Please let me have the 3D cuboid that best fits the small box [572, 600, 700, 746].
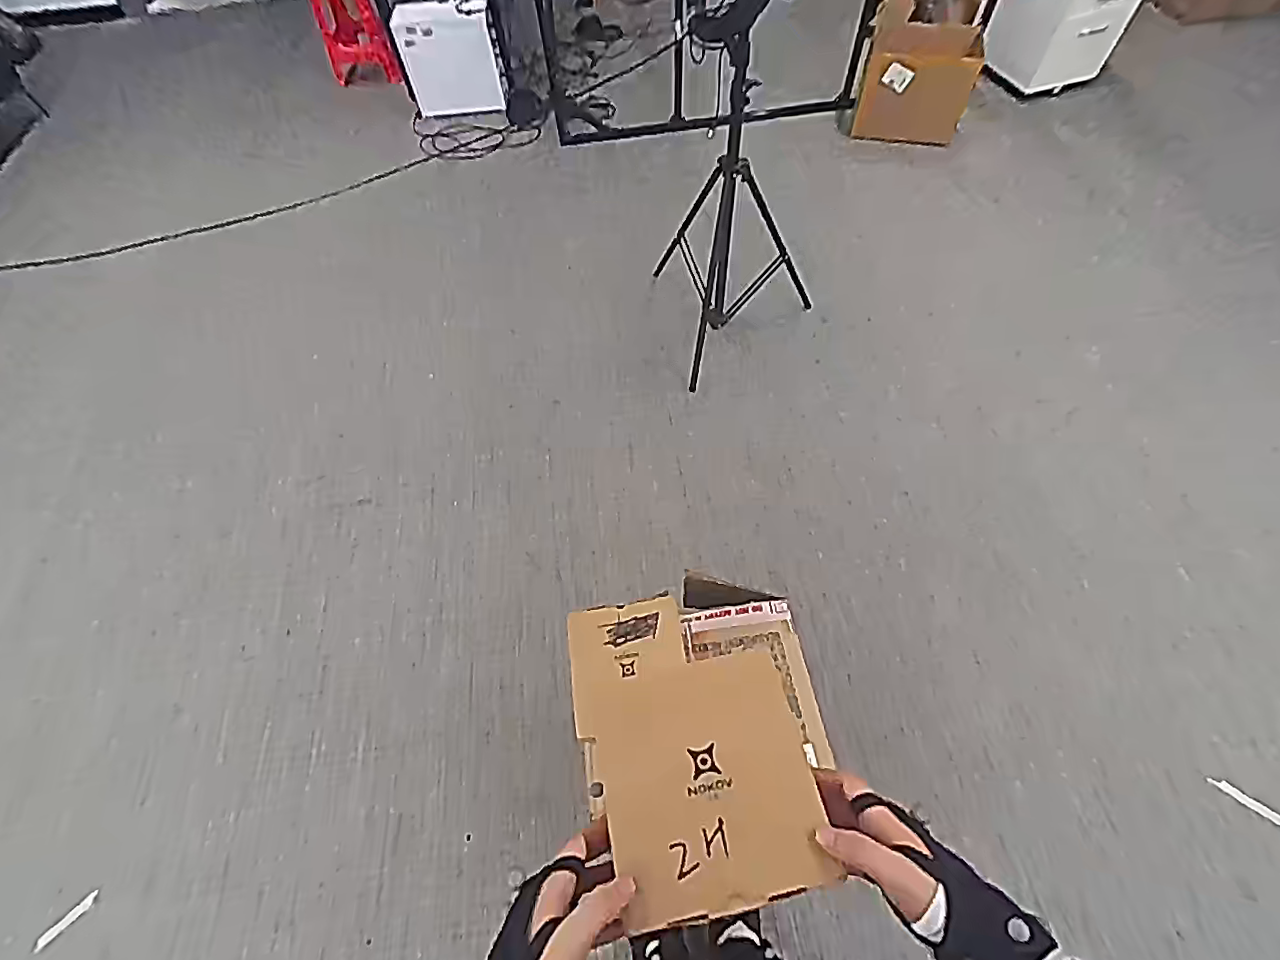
[{"bbox_3d":[-0.006,0.303,0.836,0.168,0.176,0.179,-10,62,1],"label":"small box"}]
